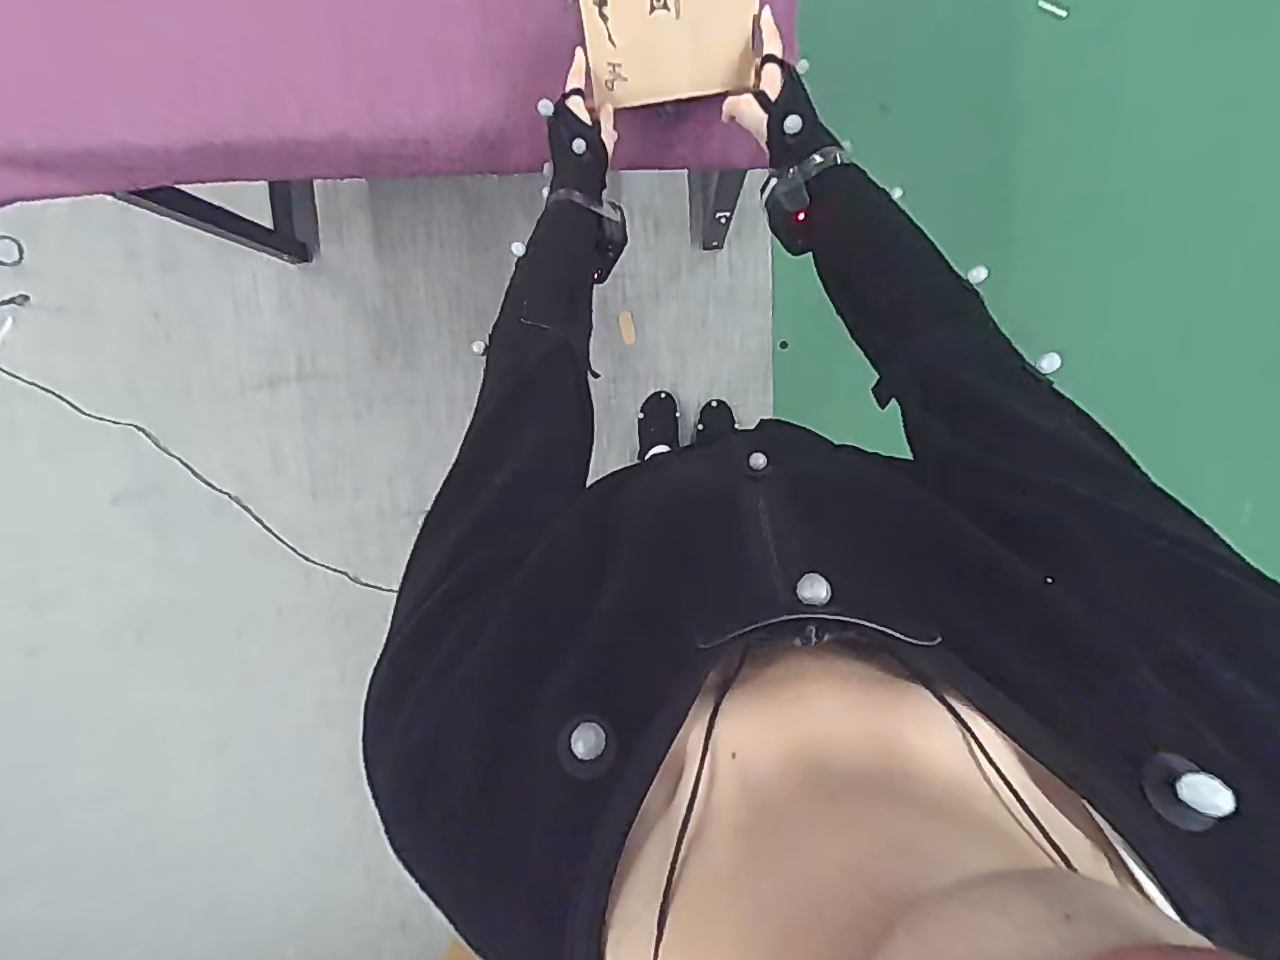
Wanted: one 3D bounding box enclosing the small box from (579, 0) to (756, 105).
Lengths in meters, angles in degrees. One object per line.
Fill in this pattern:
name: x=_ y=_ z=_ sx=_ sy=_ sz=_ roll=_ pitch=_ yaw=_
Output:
small box: x=0.026 y=-0.527 z=0.597 sx=0.179 sy=0.176 sz=0.168 roll=-5 pitch=125 yaw=5
